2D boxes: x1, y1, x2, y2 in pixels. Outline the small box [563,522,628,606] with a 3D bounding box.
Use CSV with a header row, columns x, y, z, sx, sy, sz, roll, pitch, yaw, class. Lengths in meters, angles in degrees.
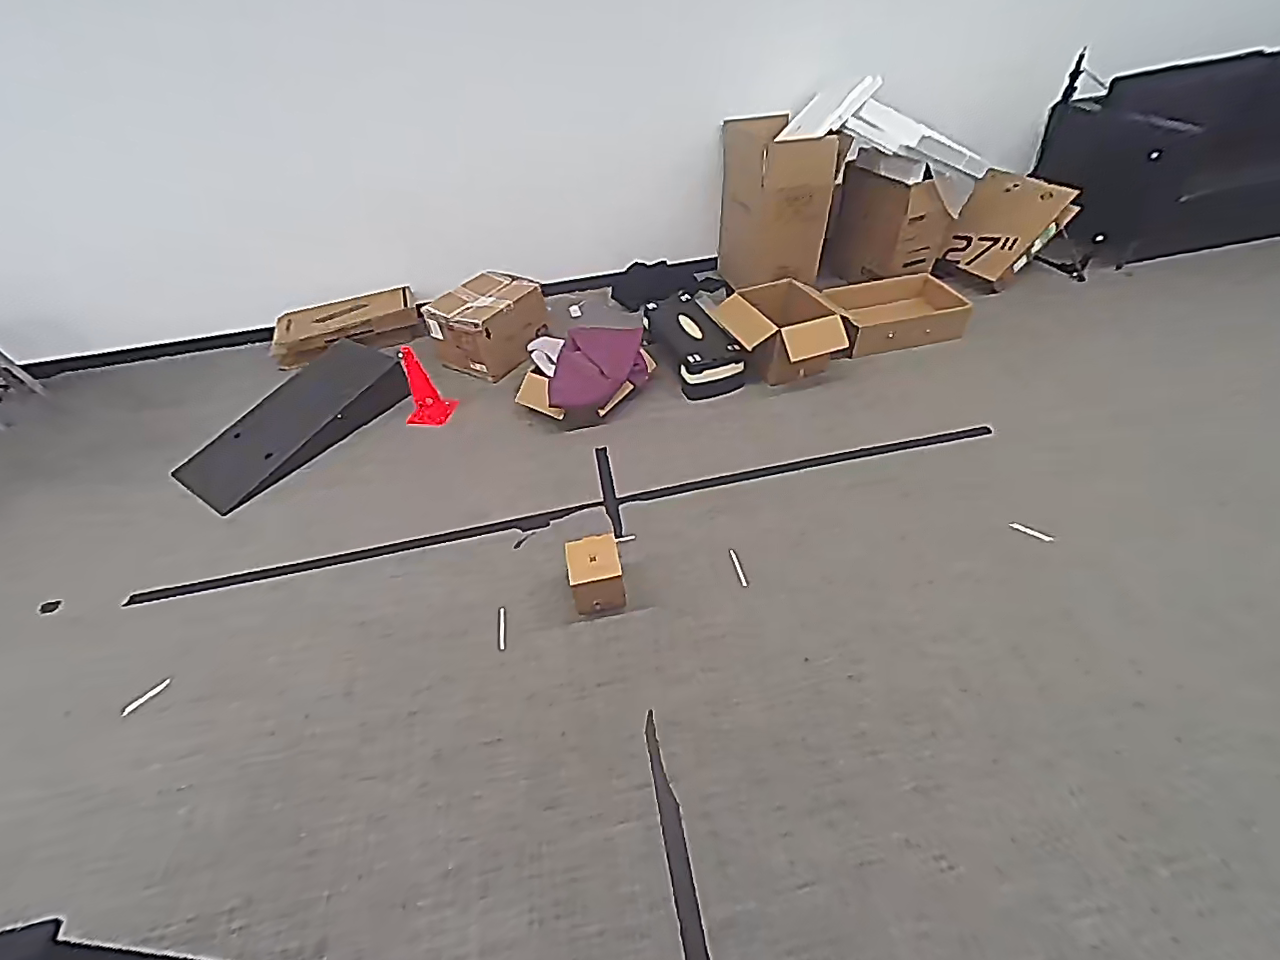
x,y,z,sx,sy,sz,roll,pitch,yaw,class
-0.137,0.262,1.679,0.168,0.176,0.179,-12,46,-5,small box
